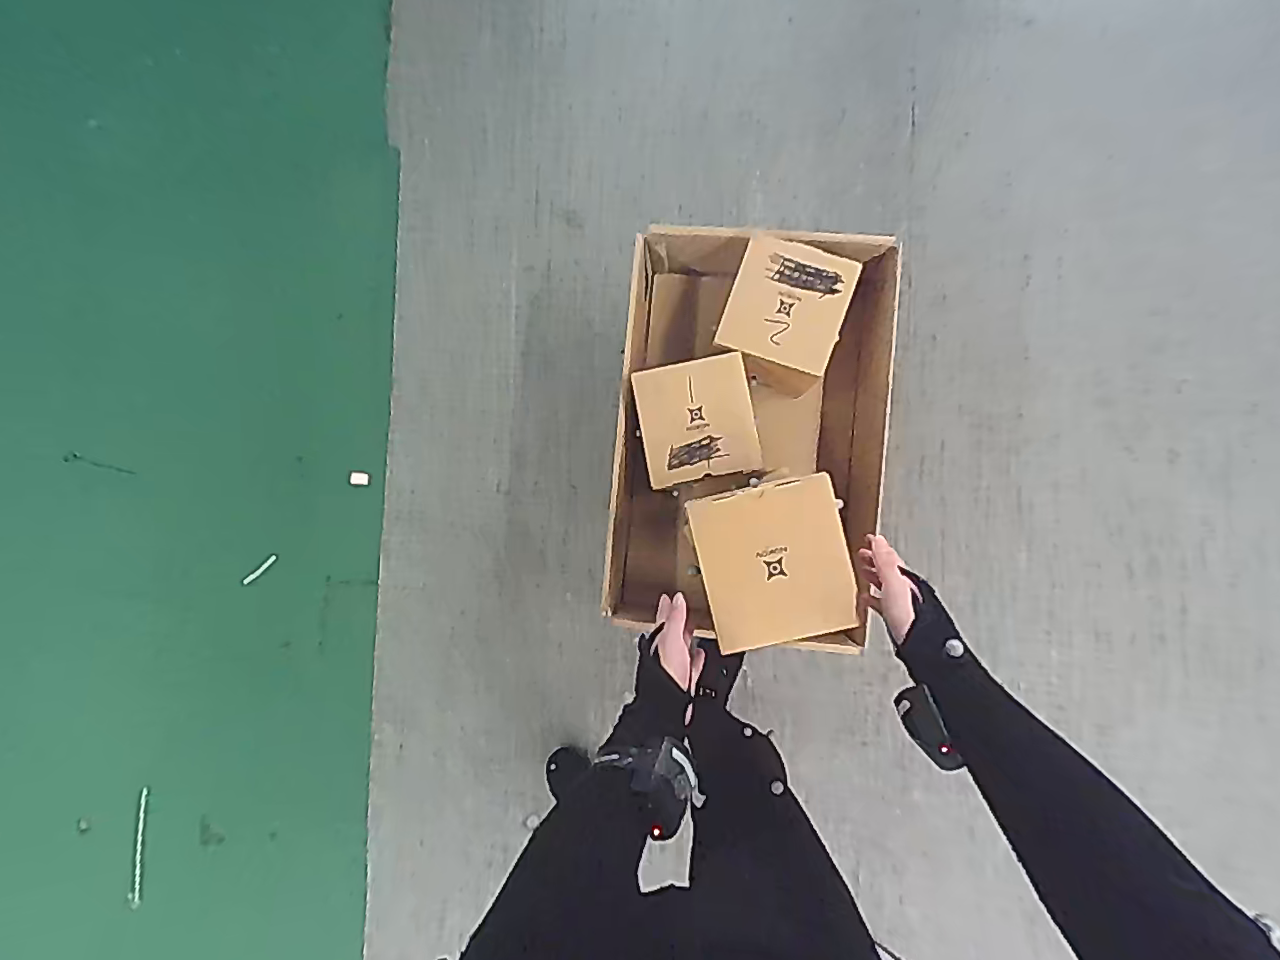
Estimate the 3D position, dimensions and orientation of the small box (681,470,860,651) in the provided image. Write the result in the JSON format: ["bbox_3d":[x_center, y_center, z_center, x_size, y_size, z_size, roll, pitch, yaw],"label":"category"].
[{"bbox_3d":[0.152,0.091,0.678,0.168,0.176,0.179,-14,87,5],"label":"small box"}]
